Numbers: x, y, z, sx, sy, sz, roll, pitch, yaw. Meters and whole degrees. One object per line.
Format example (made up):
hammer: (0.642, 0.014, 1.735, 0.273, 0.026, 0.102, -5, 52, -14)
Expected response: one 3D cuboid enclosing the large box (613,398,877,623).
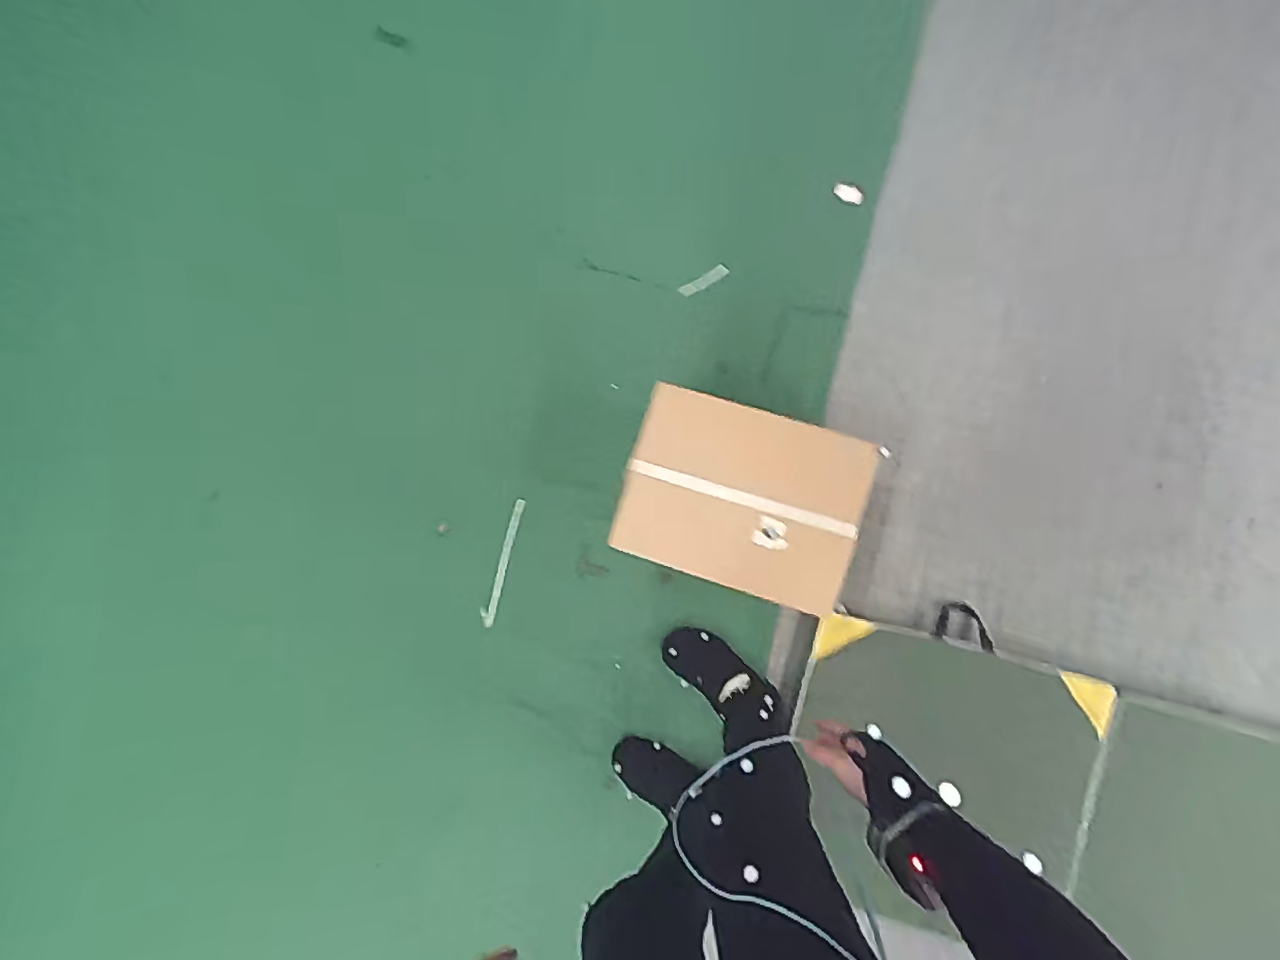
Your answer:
large box: (0.195, 0.057, 1.101, 0.408, 0.320, 0.320, 17, 89, 7)
